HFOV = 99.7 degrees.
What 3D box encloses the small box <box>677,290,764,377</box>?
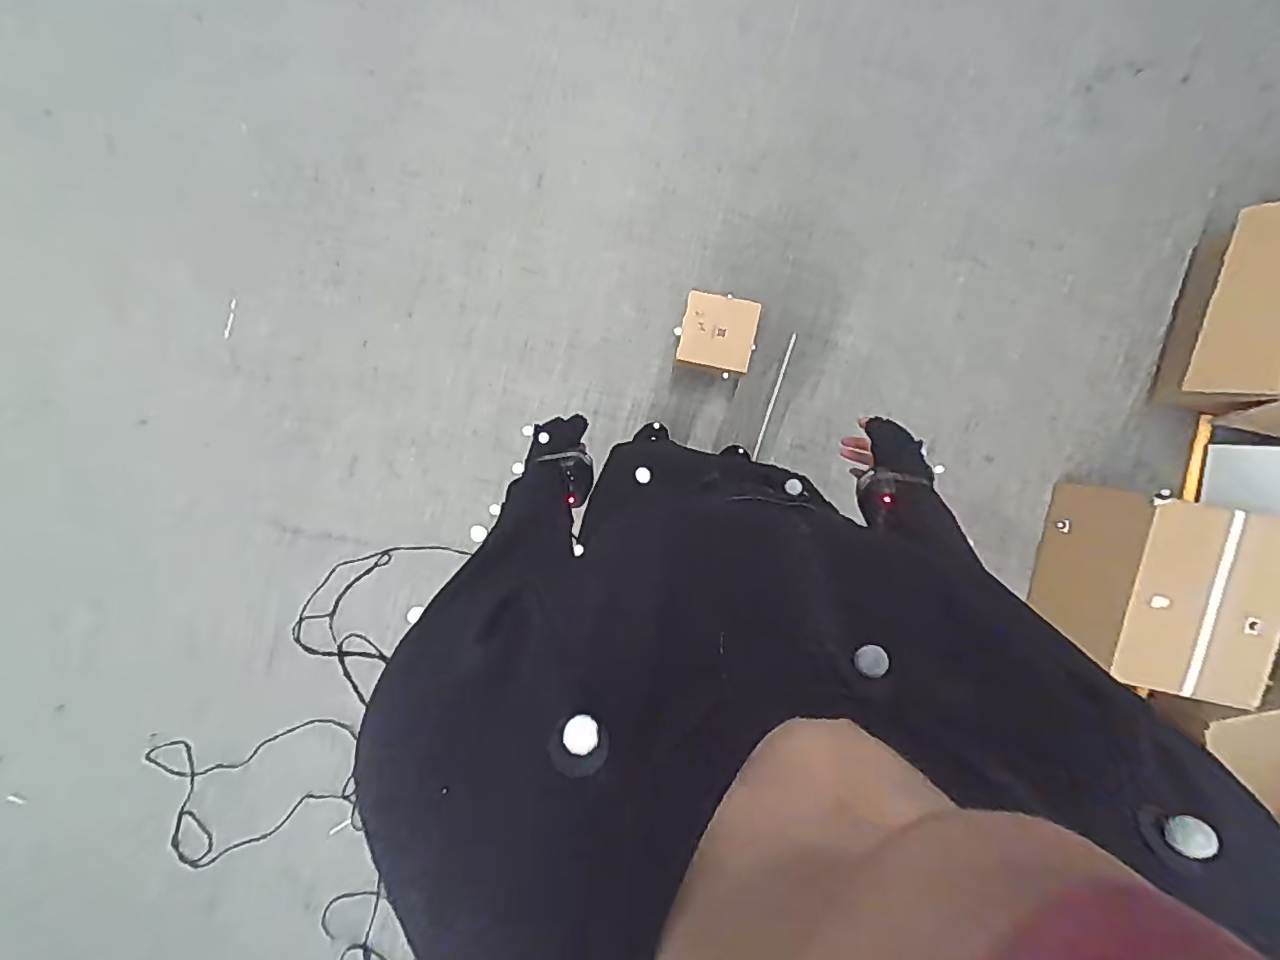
[{"bbox_3d":[0.194,-0.357,1.349,0.179,0.176,0.168,13,96,3],"label":"small box"}]
